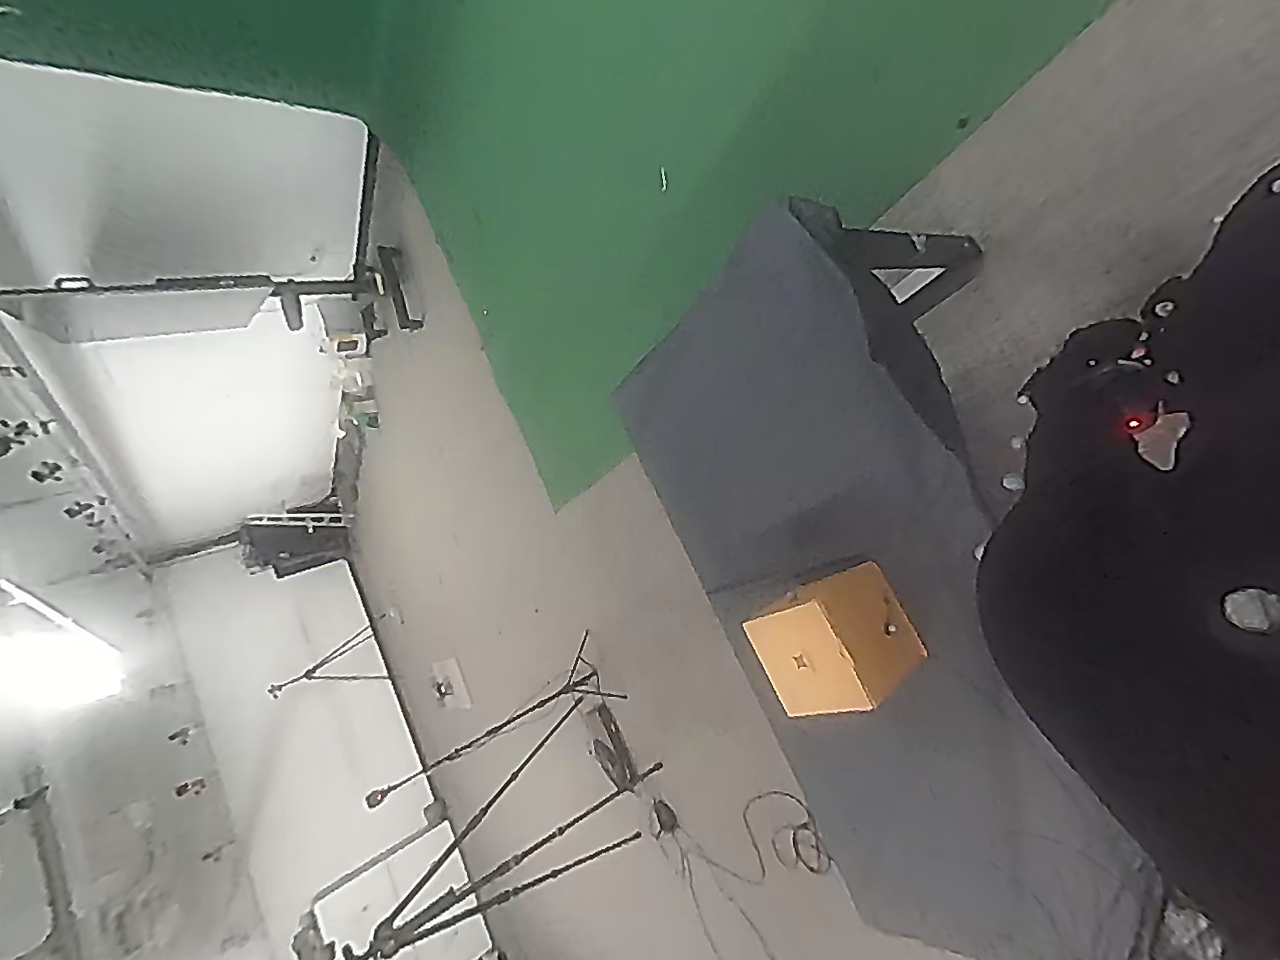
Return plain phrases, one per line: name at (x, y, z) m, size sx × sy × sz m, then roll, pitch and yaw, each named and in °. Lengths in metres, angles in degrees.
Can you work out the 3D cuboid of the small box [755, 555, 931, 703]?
small box at (0.332, 0.244, 0.889) m, size 0.179 × 0.176 × 0.168 m, roll -41°, pitch 72°, yaw 50°
